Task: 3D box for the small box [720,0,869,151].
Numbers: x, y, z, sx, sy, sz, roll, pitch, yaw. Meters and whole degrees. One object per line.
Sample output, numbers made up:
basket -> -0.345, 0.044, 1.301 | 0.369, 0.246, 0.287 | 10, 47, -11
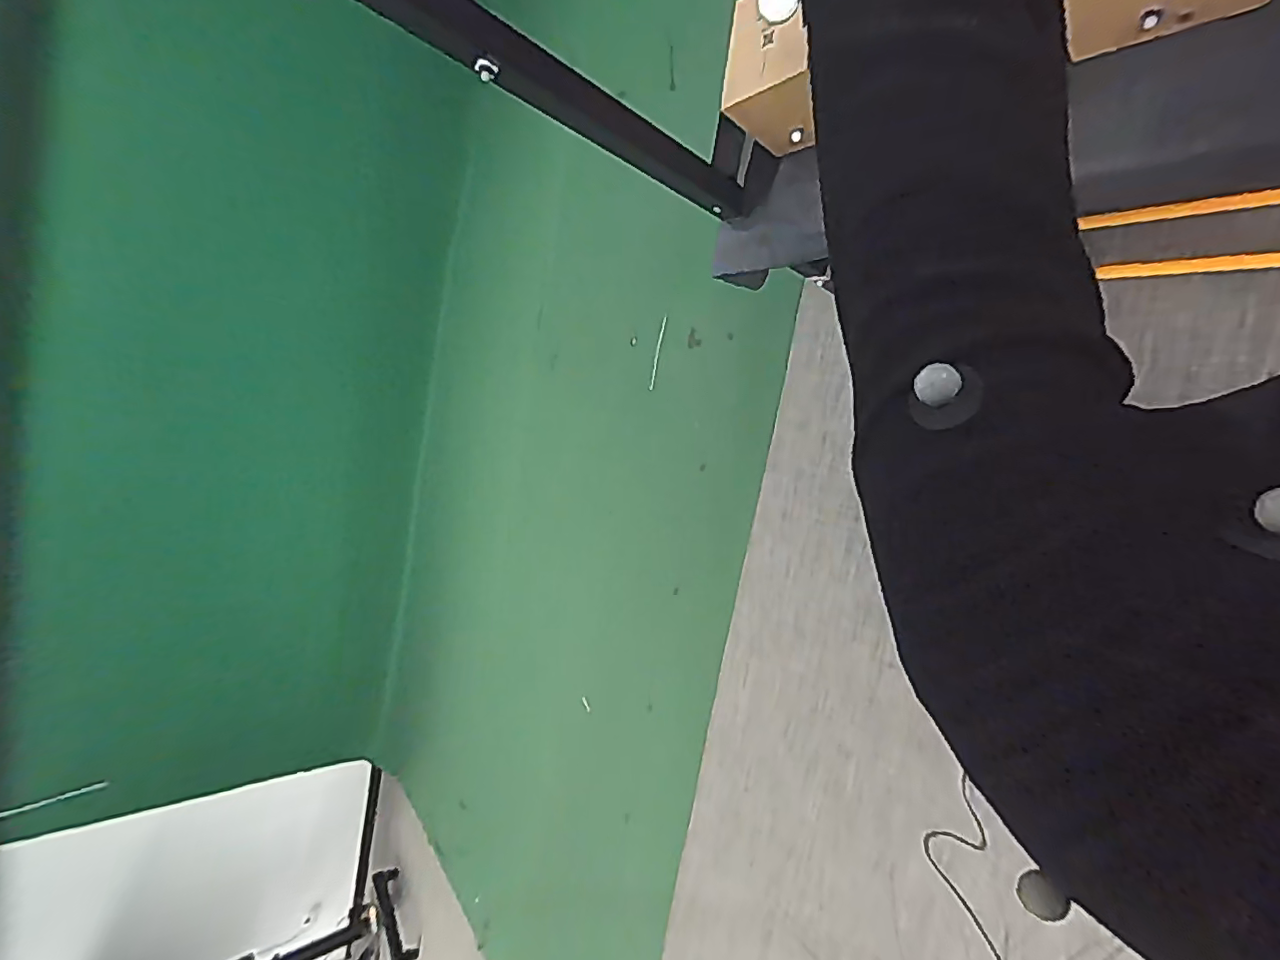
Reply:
small box -> 0.257, -0.678, 0.873 | 0.168, 0.176, 0.179 | 13, 96, 48
